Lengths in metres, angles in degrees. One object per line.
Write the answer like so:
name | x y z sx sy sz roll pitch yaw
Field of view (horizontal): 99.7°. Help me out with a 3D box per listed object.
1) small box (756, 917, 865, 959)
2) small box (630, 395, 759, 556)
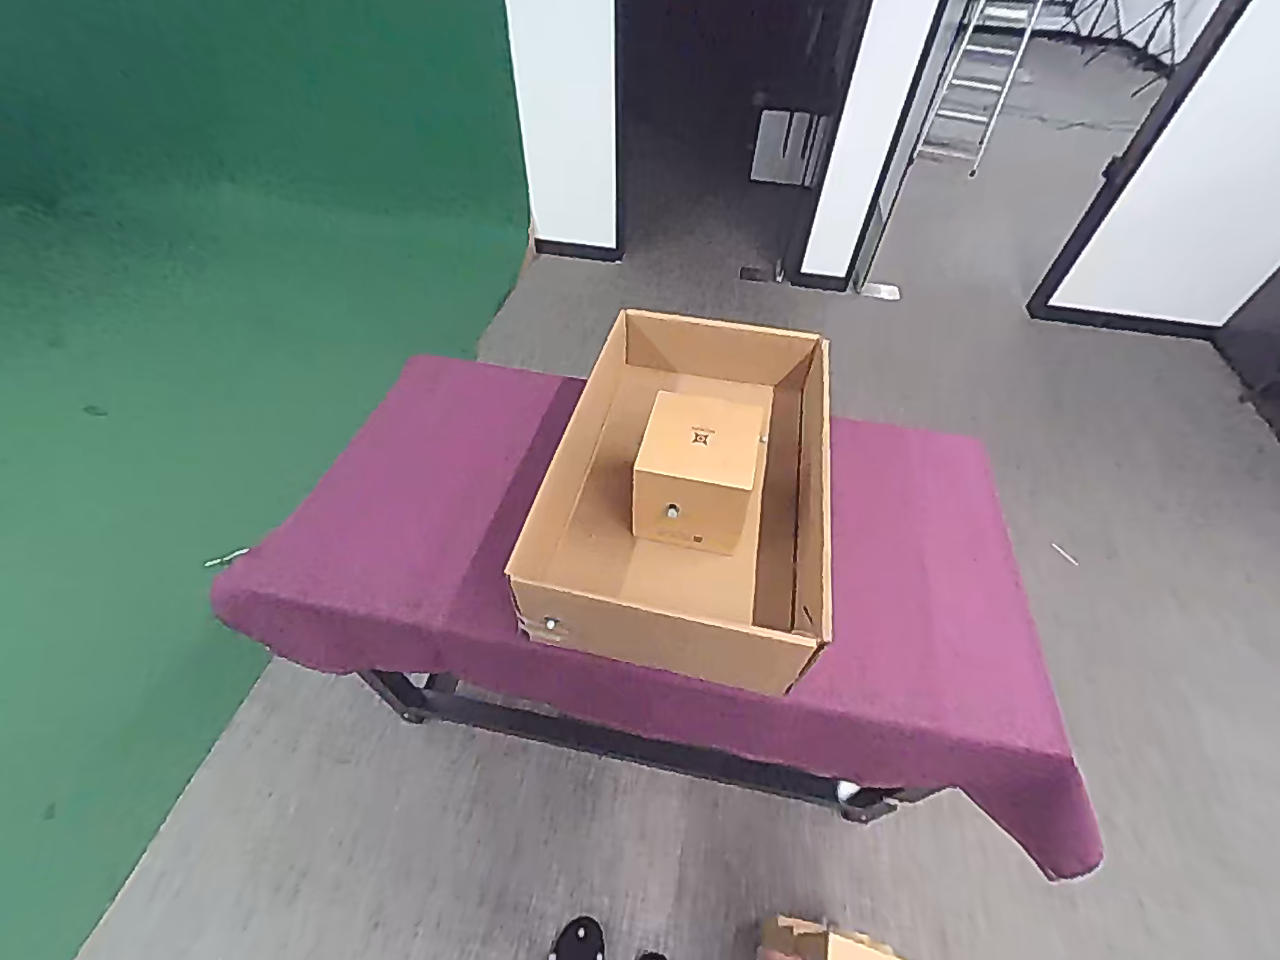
small box | 0.326 0.973 1.051 0.179 0.176 0.168 8 50 7
small box | 0.085 -0.005 0.848 0.168 0.176 0.179 10 49 8
